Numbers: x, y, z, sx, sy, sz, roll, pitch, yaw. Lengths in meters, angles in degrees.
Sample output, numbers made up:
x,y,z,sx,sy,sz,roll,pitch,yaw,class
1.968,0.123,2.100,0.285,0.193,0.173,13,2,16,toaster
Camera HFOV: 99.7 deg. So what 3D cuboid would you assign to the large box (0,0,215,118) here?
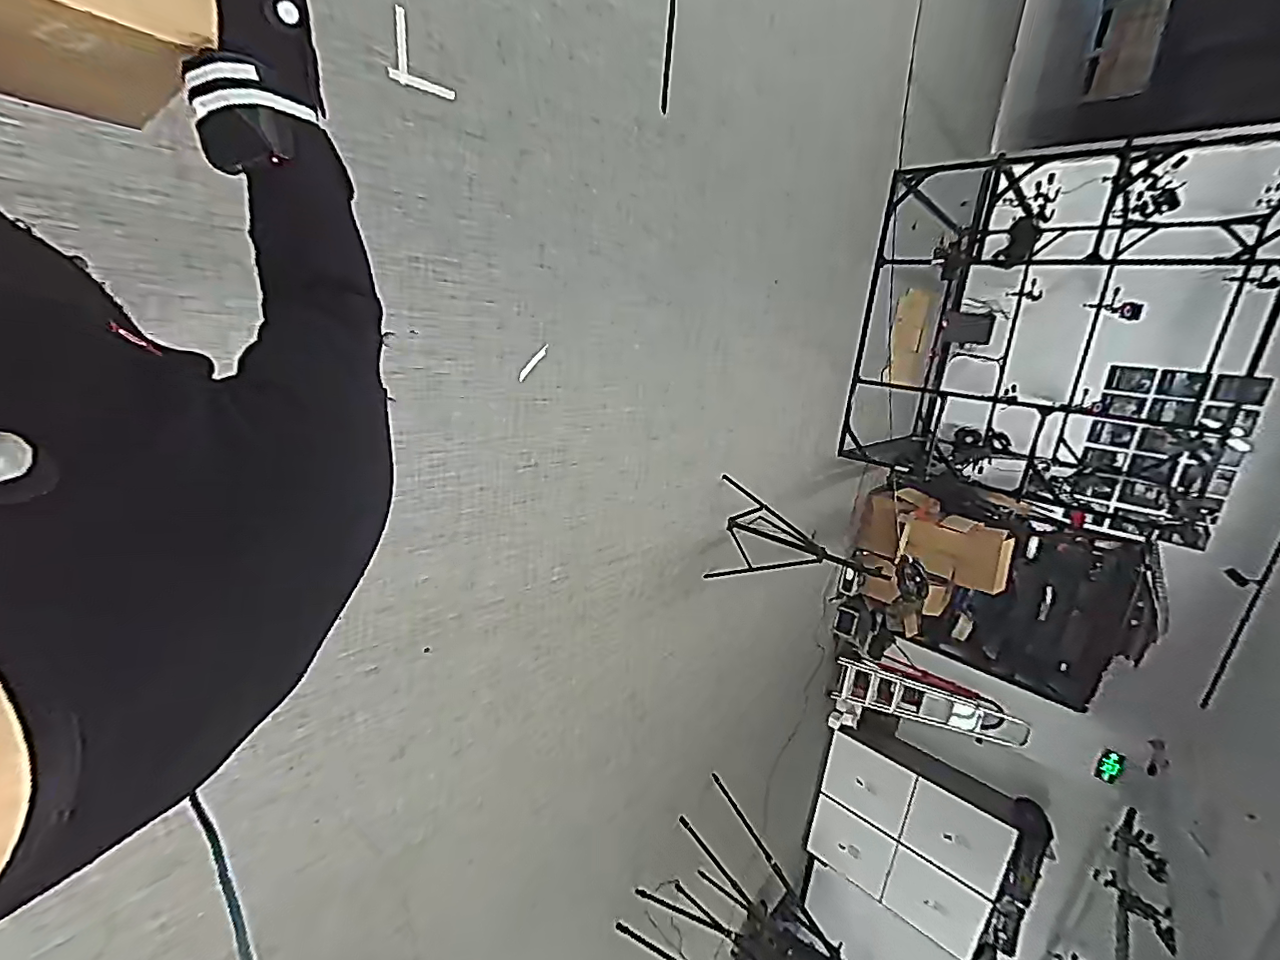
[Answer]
x,y,z,sx,sy,sz,roll,pitch,yaw,class
-0.526,-0.456,0.284,0.408,0.320,0.320,-11,113,-49,large box
